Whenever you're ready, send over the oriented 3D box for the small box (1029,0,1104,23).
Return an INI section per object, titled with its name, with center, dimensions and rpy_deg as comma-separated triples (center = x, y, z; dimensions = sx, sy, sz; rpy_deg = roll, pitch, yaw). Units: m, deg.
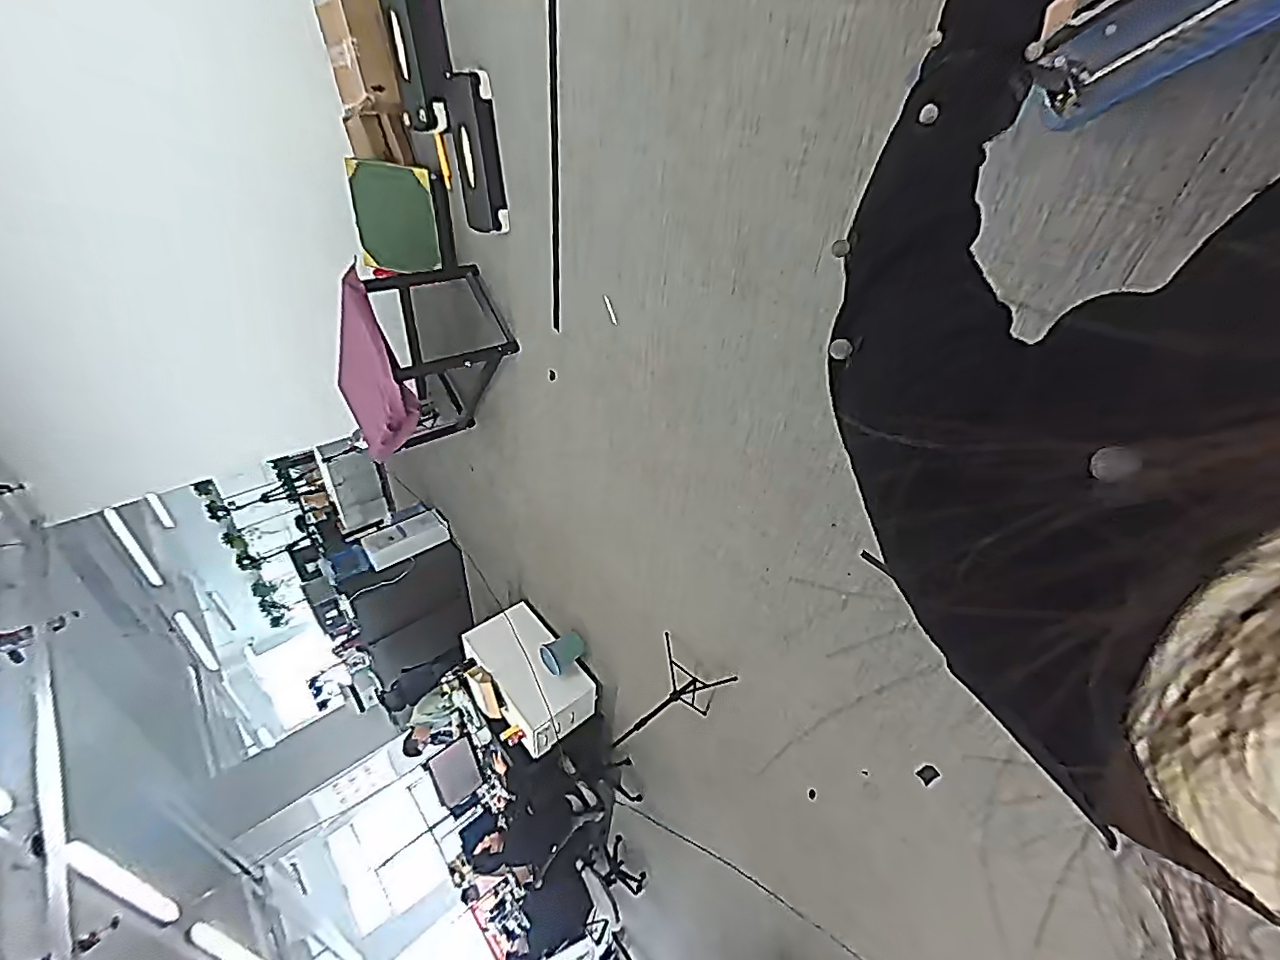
[small box]
center = 0.667, -0.814, 0.786
dimensions = 0.168, 0.176, 0.179
rpy_deg = -17, 97, 54
